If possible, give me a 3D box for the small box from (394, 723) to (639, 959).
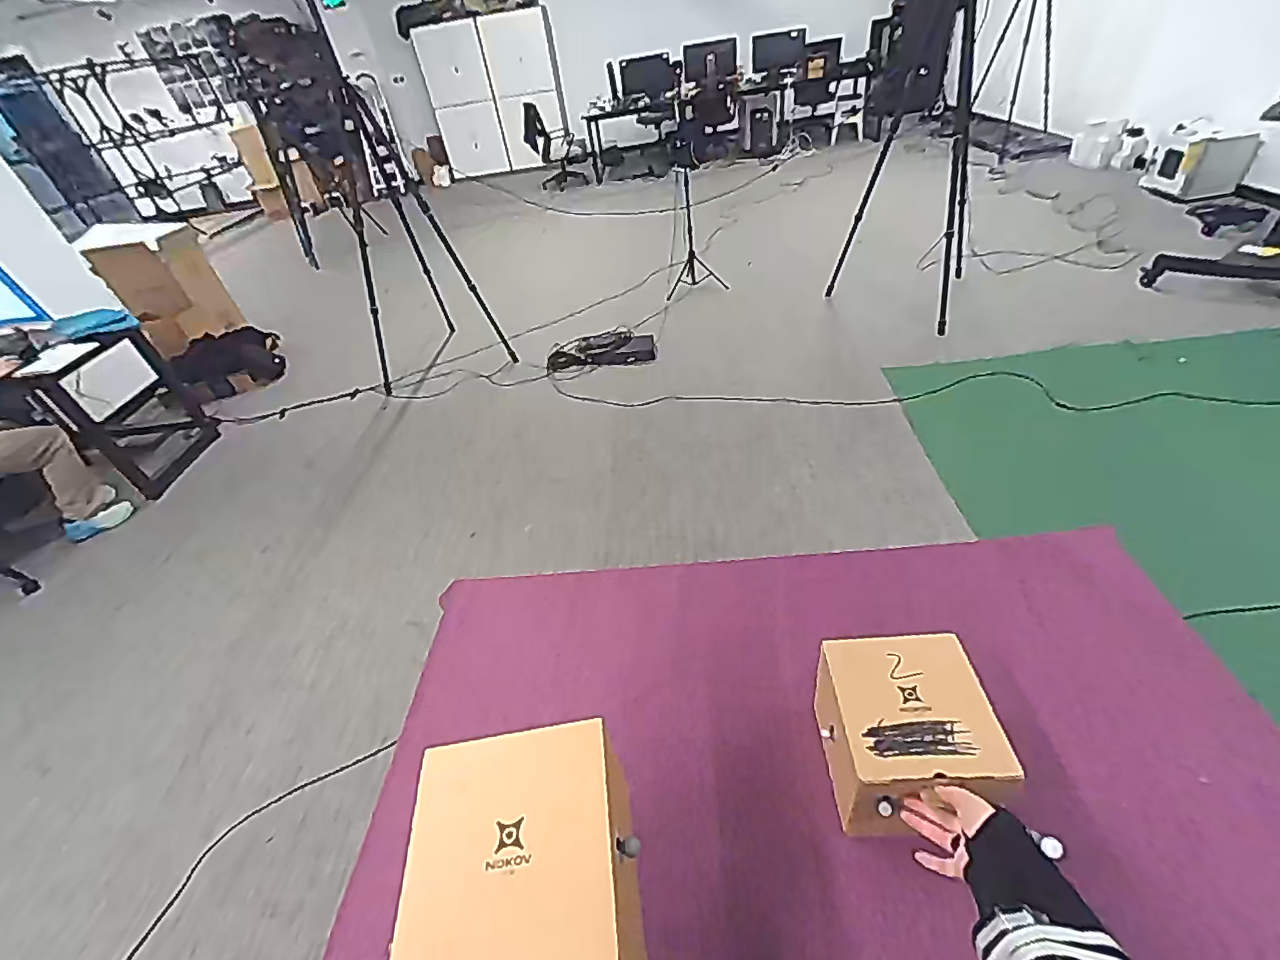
[{"bbox_3d":[-0.098,0.356,0.496,0.168,0.176,0.179,-10,42,-1],"label":"small box"}]
